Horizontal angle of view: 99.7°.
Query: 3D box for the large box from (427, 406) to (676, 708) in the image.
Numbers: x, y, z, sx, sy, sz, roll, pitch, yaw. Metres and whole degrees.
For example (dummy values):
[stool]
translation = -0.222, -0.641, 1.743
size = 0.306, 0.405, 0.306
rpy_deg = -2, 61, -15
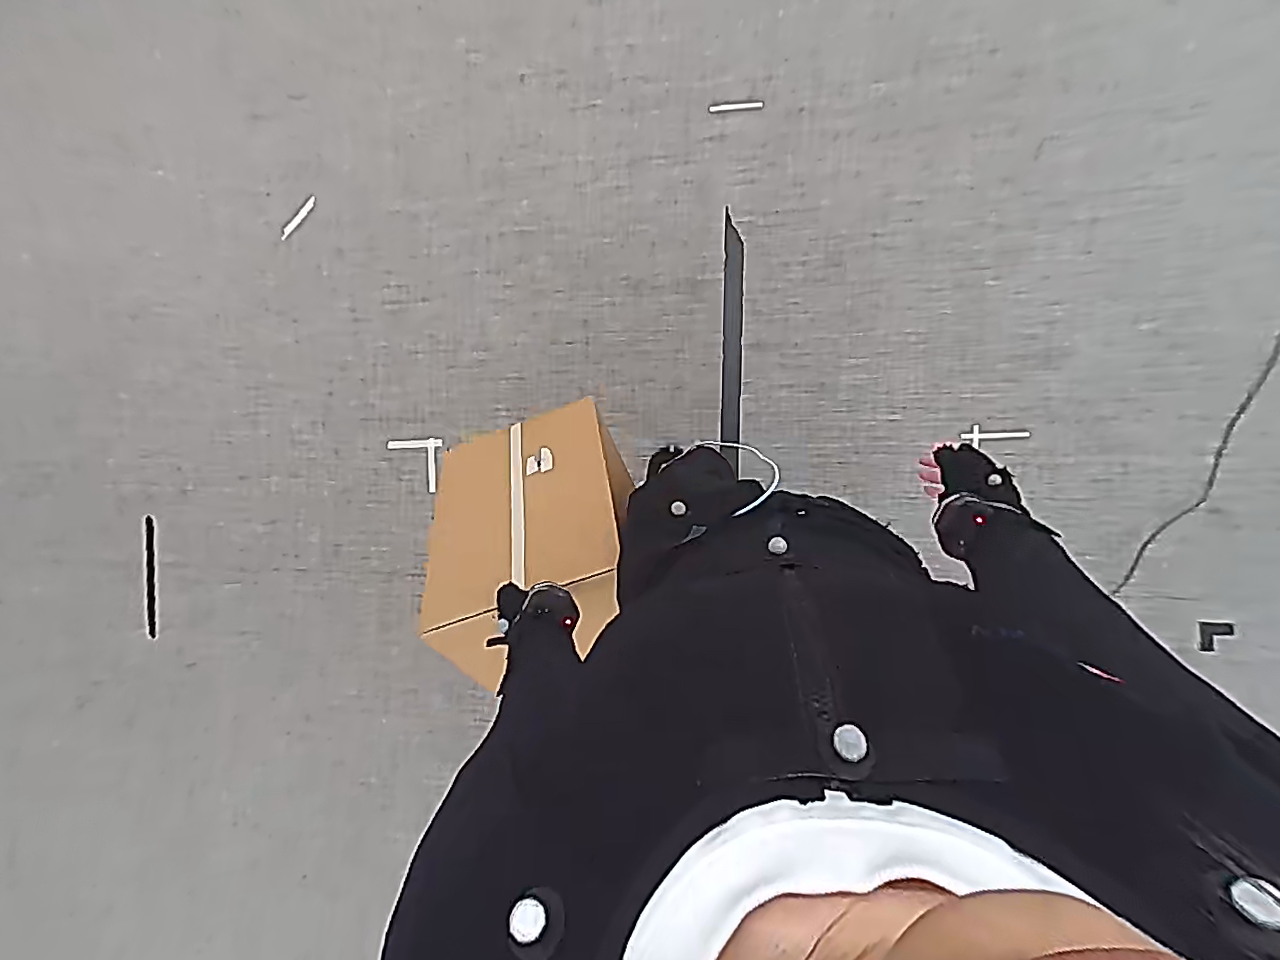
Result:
[large box]
translation = -0.155, 0.138, 1.011
size = 0.320, 0.320, 0.408
rpy_deg = -19, 43, 5
